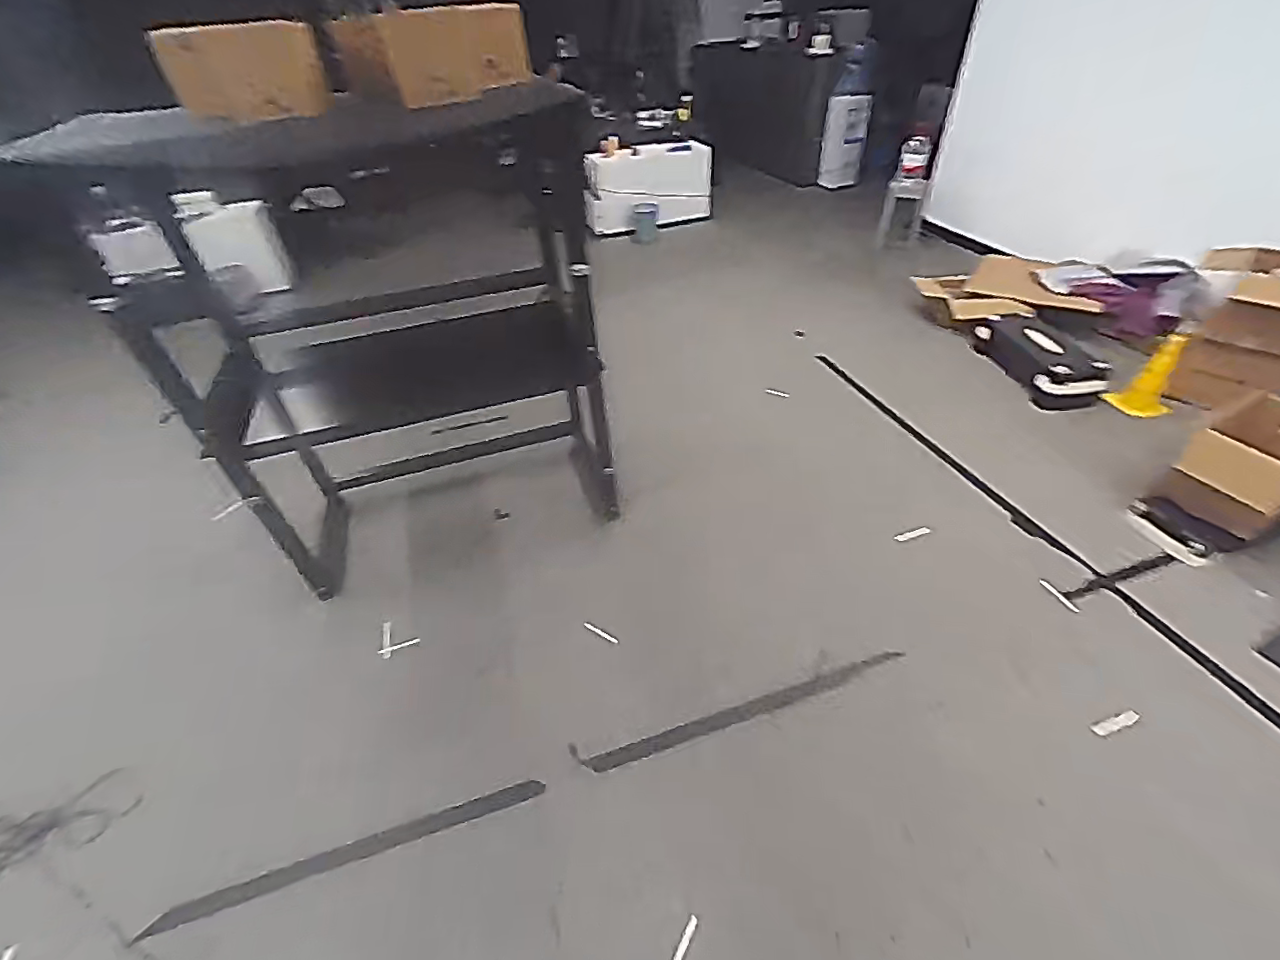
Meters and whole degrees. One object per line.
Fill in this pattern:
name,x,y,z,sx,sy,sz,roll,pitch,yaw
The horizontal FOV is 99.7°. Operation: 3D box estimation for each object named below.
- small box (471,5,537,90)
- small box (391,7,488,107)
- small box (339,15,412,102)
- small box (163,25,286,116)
small box,-0.399,-1.189,1.488,0.168,0.176,0.179,-23,47,-19
small box,-0.462,-0.973,1.250,0.168,0.176,0.179,-18,42,-14
small box,-0.663,-1.103,1.416,0.168,0.176,0.179,-16,42,-13
small box,-1.030,-1.030,1.362,0.168,0.176,0.179,-12,42,-7
